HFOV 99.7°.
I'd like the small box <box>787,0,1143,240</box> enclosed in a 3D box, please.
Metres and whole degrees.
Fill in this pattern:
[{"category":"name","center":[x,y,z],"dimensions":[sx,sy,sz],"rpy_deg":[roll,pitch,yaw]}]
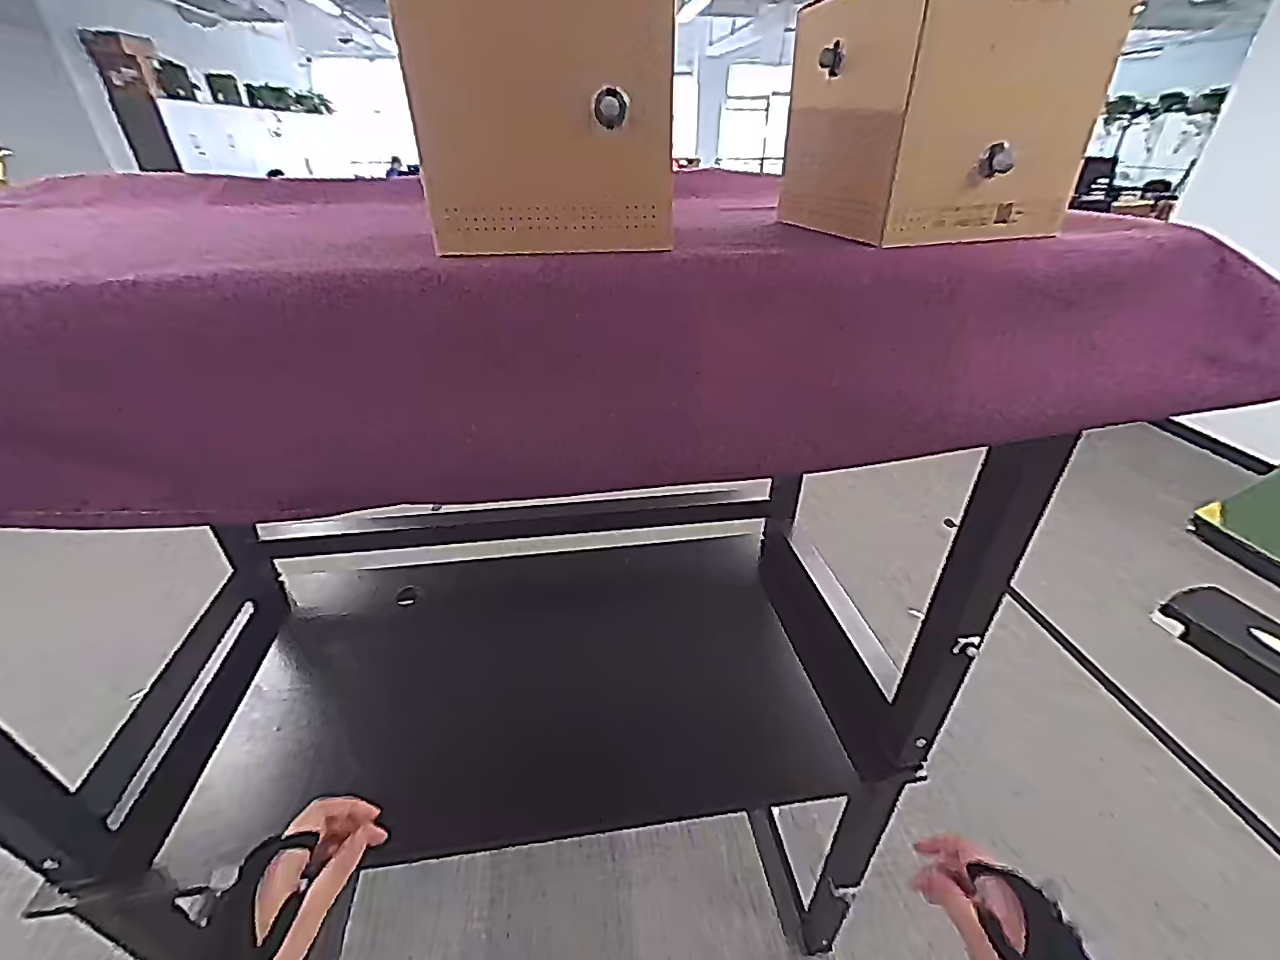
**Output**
[{"category":"small box","center":[0.239,-0.299,0.448],"dimensions":[0.168,0.176,0.179],"rpy_deg":[-8,32,-11]}]

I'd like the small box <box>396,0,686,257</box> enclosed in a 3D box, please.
[{"category":"small box","center":[-0.064,-0.278,0.423],"dimensions":[0.179,0.176,0.168],"rpy_deg":[-3,31,-4]}]
